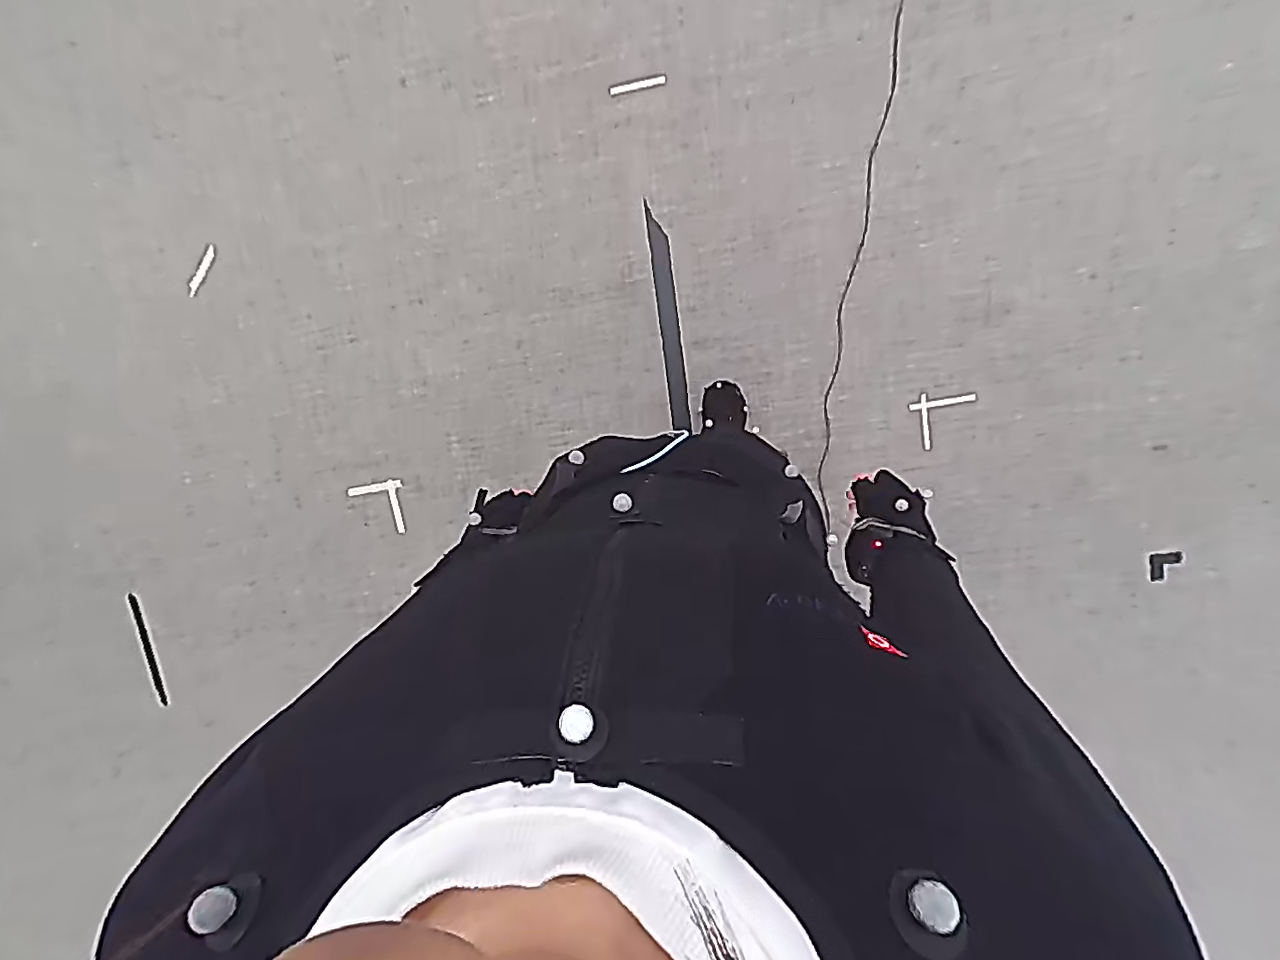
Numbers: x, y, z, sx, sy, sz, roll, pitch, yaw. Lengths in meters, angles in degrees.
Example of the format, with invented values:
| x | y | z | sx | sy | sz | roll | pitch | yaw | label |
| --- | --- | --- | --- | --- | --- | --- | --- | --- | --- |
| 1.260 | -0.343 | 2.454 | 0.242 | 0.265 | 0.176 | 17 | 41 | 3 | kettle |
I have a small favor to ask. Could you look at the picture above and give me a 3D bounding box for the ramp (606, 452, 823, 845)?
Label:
| x | y | z | sx | sy | sz | roll | pitch | yaw | label |
| --- | --- | --- | --- | --- | --- | --- | --- | --- | --- |
| 0.182 | 0.442 | 1.422 | 0.509 | 0.206 | 0.991 | -6 | 97 | 10 | ramp |
